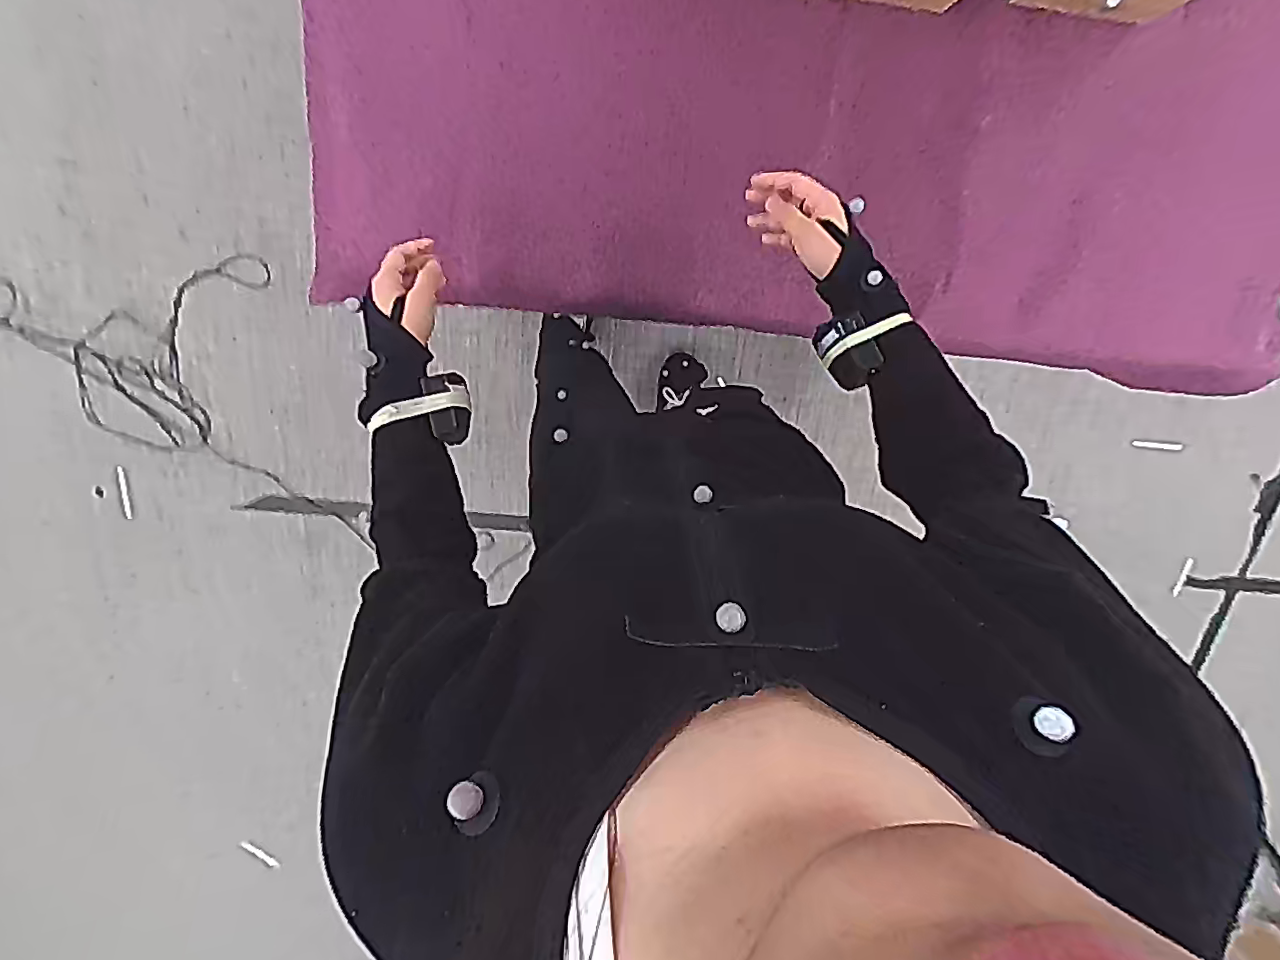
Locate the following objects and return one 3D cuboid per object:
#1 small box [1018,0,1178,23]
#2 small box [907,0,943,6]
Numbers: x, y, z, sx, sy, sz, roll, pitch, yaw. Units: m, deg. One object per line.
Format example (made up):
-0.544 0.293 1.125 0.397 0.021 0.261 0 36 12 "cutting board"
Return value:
0.496 -0.578 0.500 0.168 0.176 0.179 5 109 -4 "small box"
0.264 -0.577 0.485 0.168 0.176 0.179 4 108 -6 "small box"
